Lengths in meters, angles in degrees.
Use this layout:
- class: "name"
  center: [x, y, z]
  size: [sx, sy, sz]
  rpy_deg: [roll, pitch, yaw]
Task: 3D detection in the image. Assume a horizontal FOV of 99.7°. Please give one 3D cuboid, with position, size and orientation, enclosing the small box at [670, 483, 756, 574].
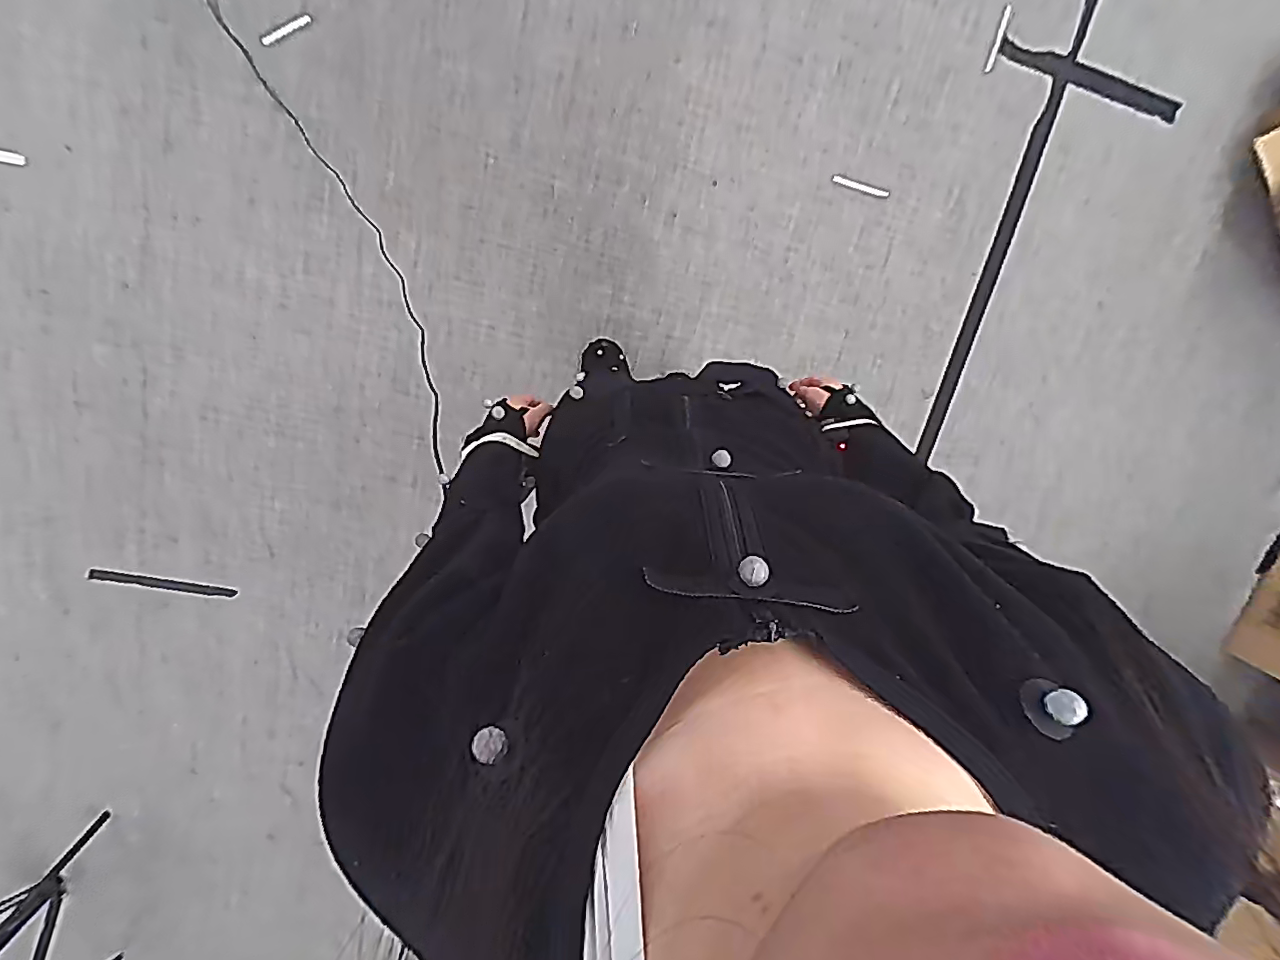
- class: "small box"
  center: [0.193, 0.122, 1.487]
  size: [0.168, 0.176, 0.179]
  rpy_deg: [-24, 108, 3]
